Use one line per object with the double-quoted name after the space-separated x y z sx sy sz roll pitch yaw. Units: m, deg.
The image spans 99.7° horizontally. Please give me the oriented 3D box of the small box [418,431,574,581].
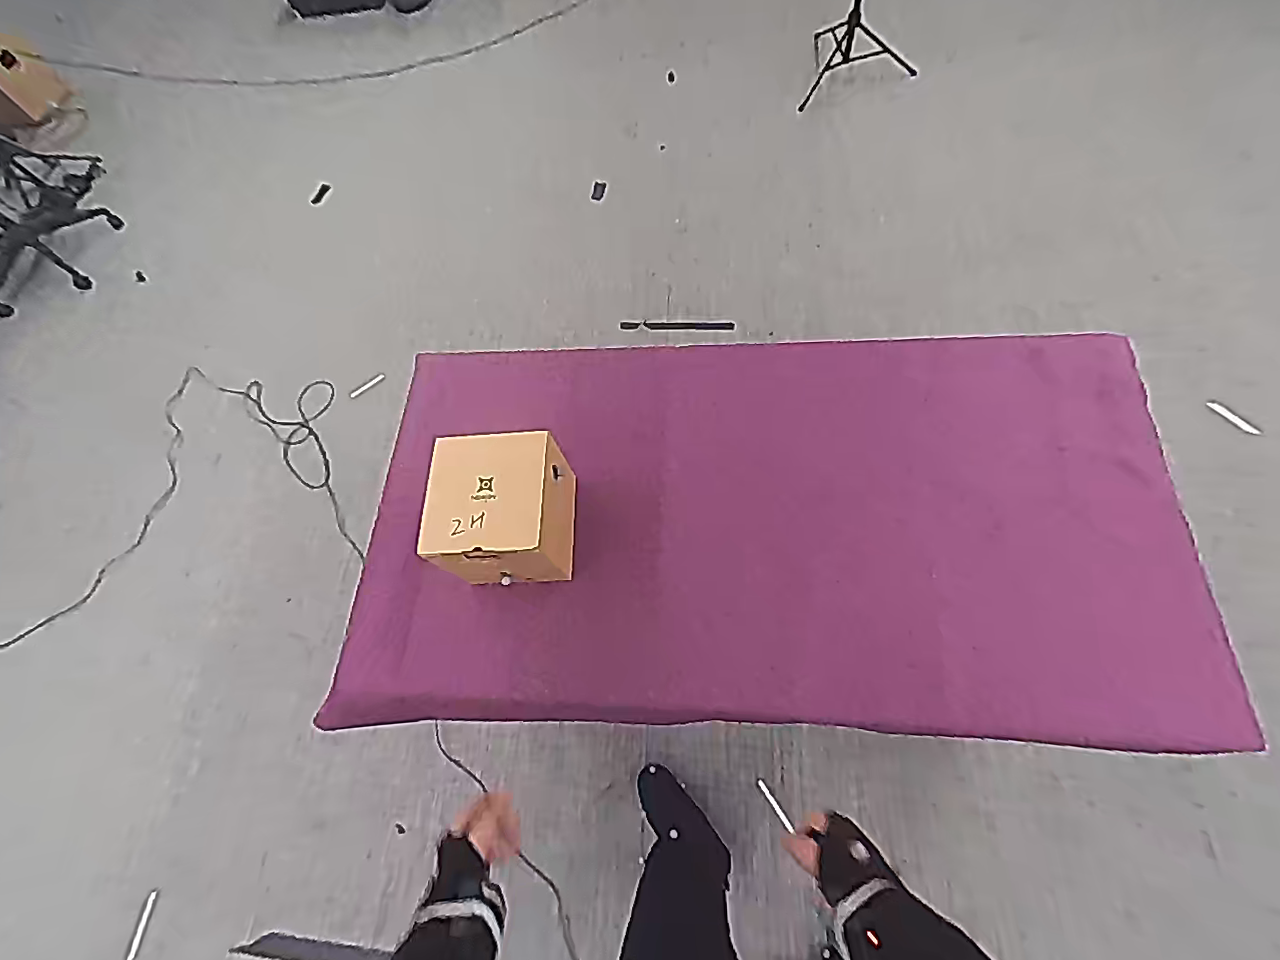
-0.198 0.045 0.802 0.168 0.176 0.179 -3 66 7 "small box"
